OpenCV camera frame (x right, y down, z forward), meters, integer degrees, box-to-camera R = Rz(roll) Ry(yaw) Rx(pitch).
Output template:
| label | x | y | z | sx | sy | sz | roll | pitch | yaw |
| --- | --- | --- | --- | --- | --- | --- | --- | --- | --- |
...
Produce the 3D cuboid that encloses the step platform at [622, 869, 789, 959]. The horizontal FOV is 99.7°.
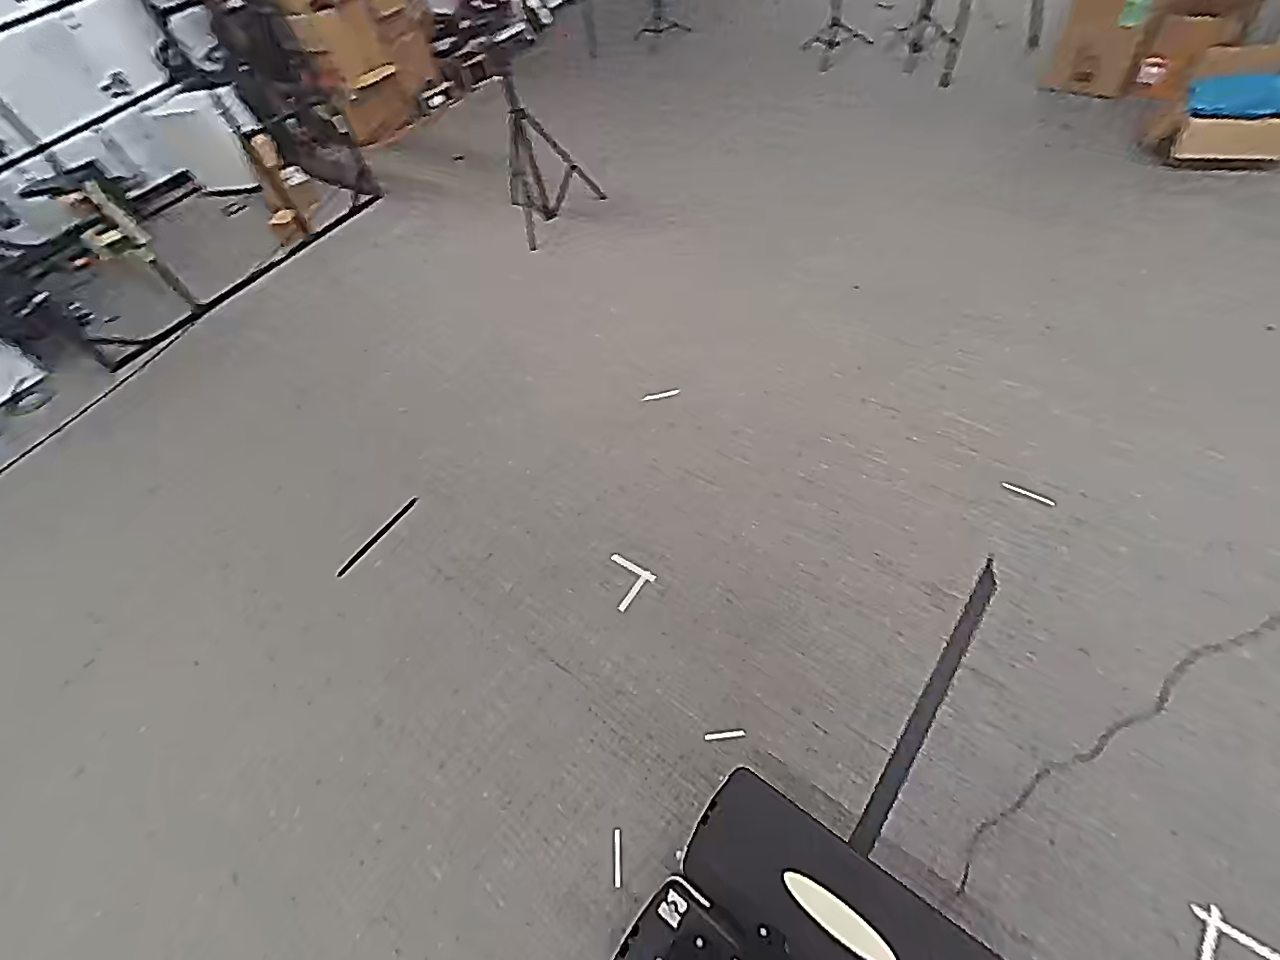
| label | x | y | z | sx | sy | sz | roll | pitch | yaw |
| --- | --- | --- | --- | --- | --- | --- | --- | --- | --- |
| step platform | 0.272 | 1.111 | 1.034 | 0.684 | 0.204 | 0.286 | 26 | 63 | 29 |
